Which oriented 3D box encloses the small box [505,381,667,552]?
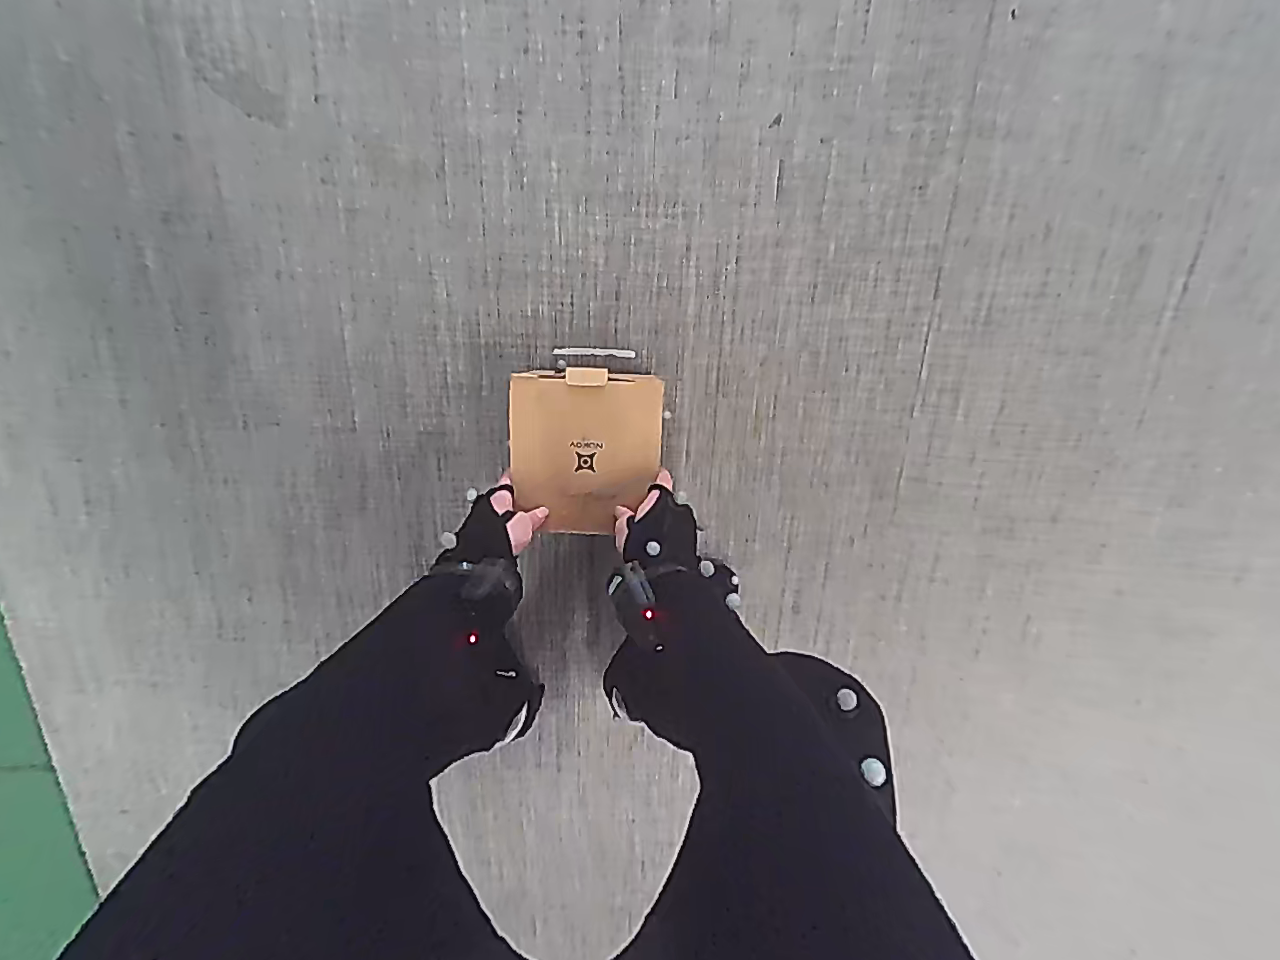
[{"bbox_3d":[-0.060,-0.027,0.655,0.168,0.176,0.179,4,102,-1],"label":"small box"}]
